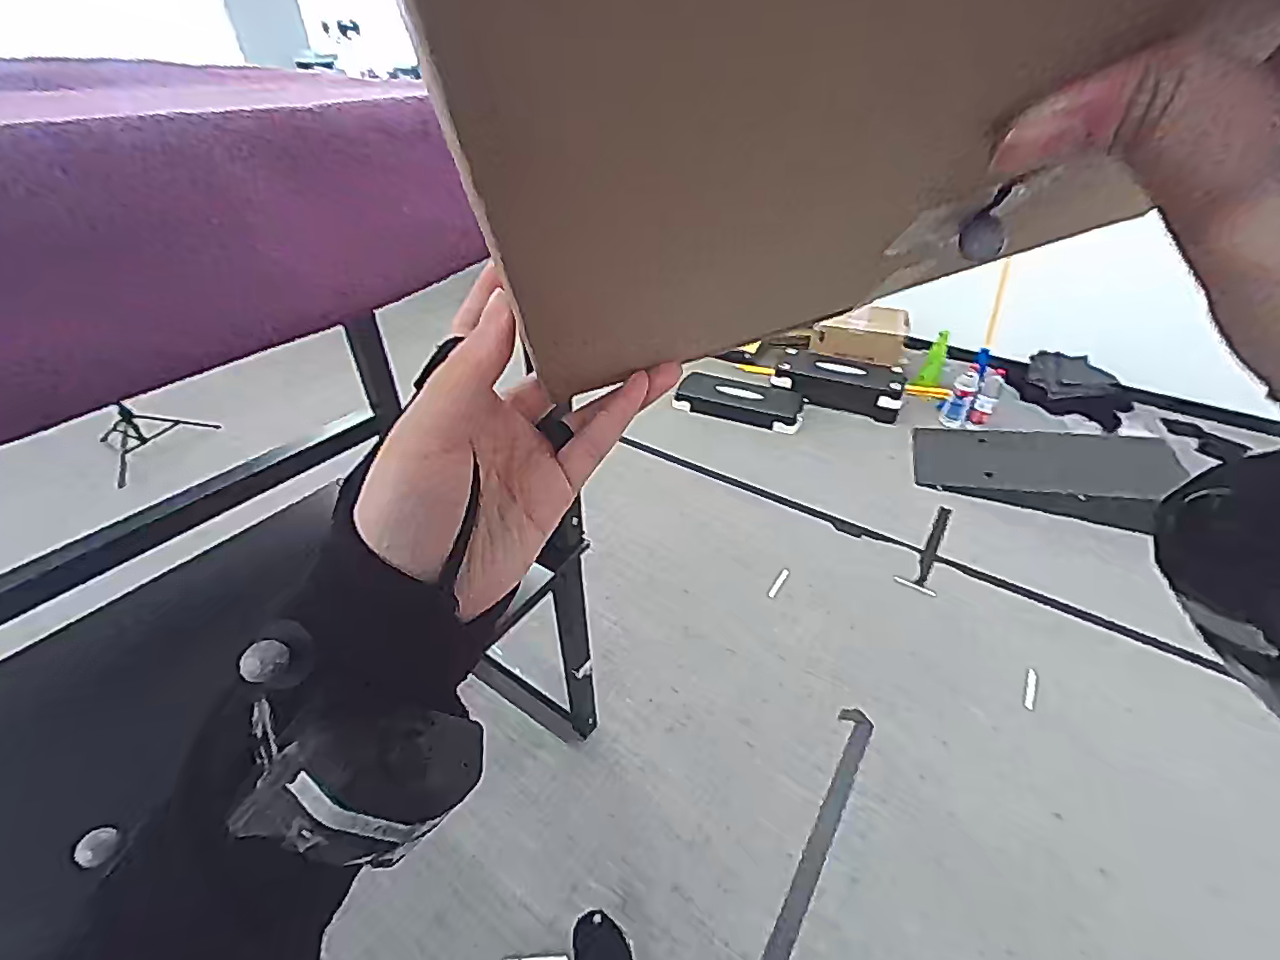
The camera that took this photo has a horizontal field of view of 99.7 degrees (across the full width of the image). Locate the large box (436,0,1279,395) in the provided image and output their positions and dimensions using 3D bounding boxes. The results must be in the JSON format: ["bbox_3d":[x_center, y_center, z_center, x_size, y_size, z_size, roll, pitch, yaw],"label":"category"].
[{"bbox_3d":[0.060,-0.279,0.111,0.320,0.408,0.320,-18,-3,-6],"label":"large box"}]
